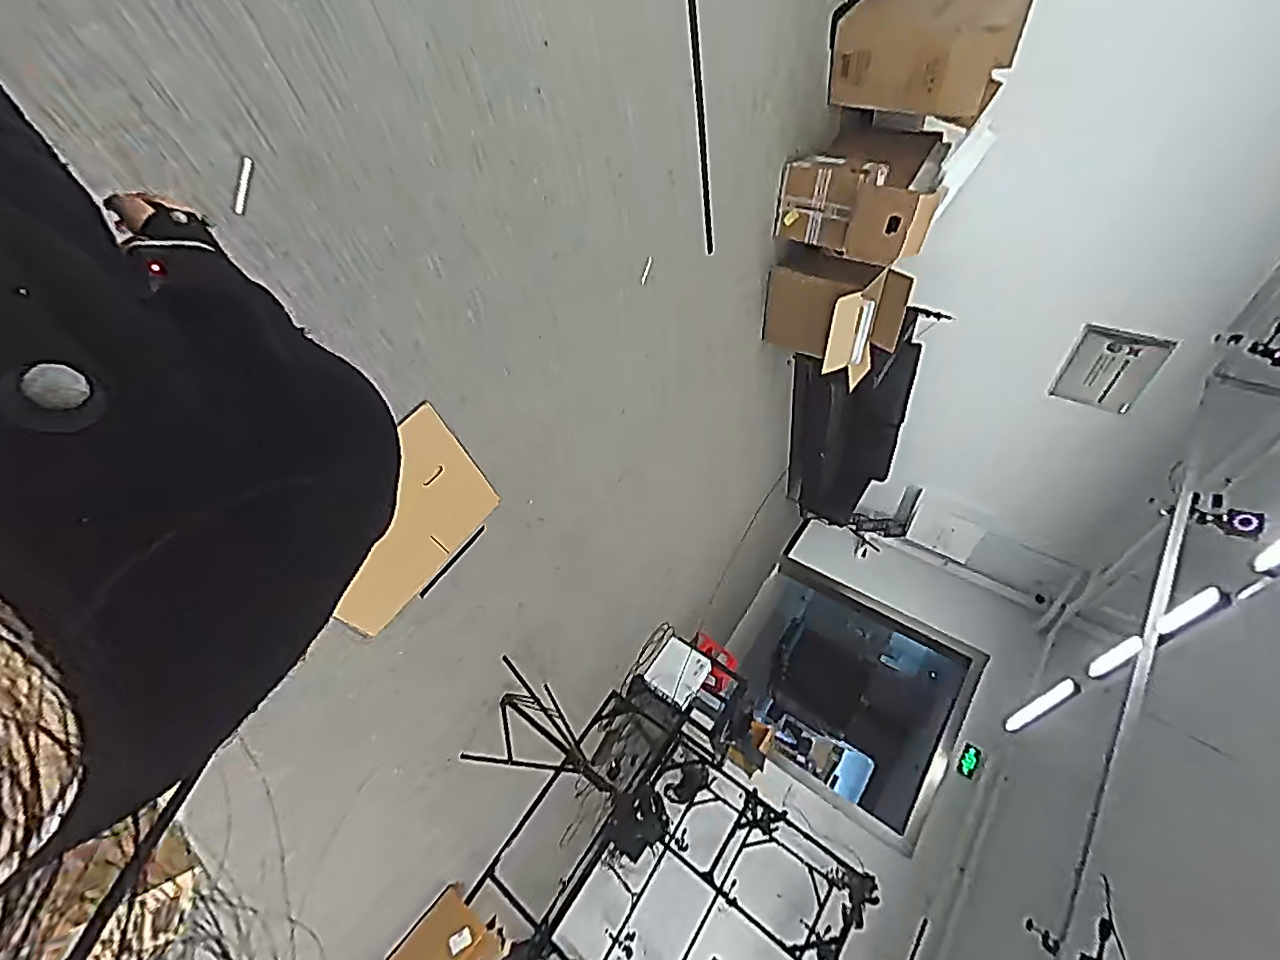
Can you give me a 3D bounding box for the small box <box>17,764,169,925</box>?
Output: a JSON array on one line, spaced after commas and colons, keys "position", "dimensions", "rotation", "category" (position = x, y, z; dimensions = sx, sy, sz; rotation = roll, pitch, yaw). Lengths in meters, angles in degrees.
[{"position": [-1.105, 0.718, 1.094], "dimensions": [0.179, 0.176, 0.168], "rotation": [0, 112, -58], "category": "small box"}]
